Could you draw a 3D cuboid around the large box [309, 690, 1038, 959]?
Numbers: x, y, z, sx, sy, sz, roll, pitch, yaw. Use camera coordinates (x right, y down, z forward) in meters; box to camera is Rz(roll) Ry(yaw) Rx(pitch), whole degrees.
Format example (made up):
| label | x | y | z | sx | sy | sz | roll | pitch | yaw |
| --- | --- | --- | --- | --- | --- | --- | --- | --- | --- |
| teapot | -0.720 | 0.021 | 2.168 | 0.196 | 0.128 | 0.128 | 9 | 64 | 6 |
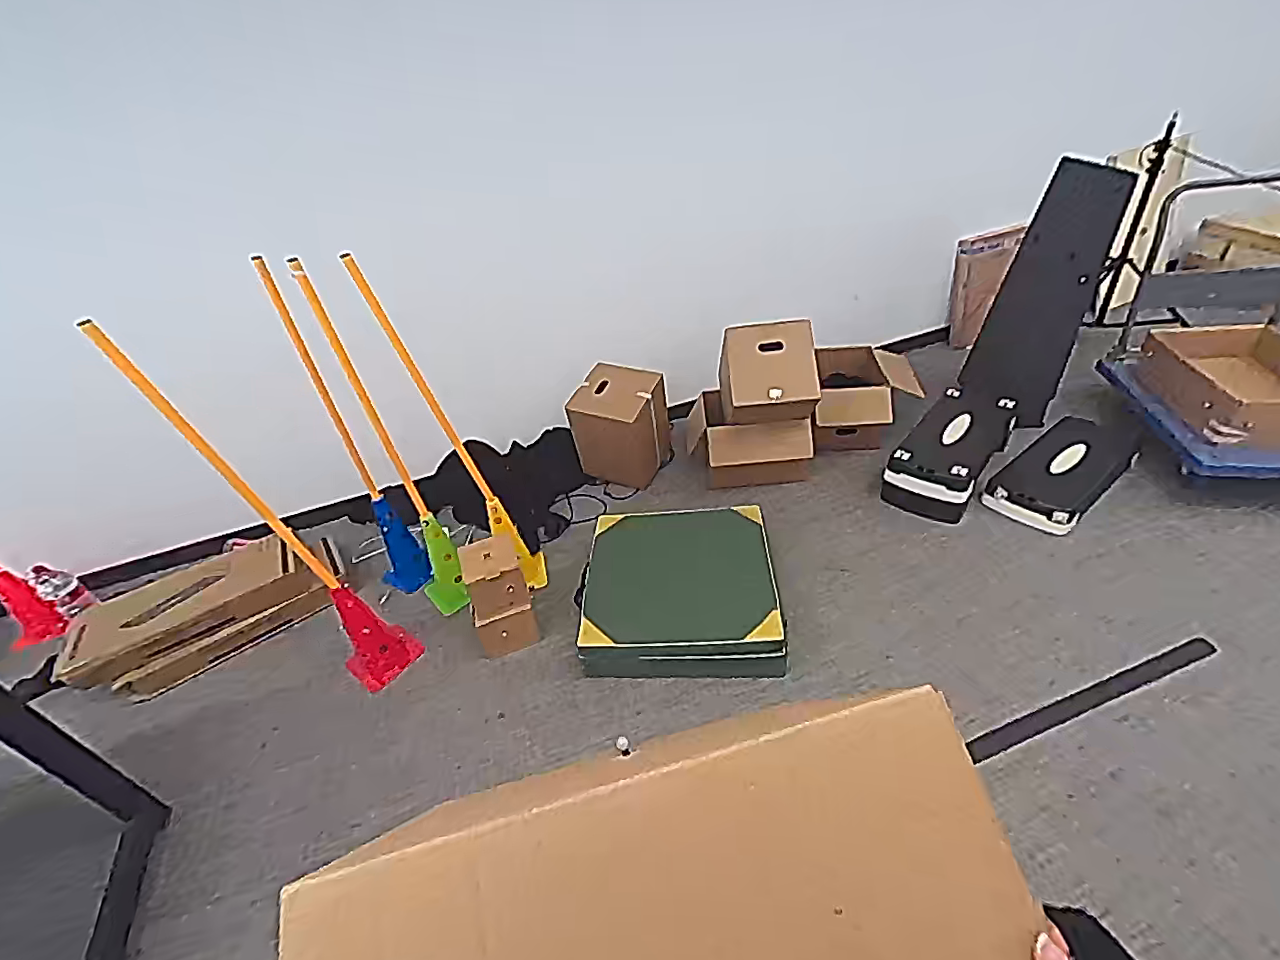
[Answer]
| label | x | y | z | sx | sy | sz | roll | pitch | yaw |
| --- | --- | --- | --- | --- | --- | --- | --- | --- | --- |
| large box | 0.035 | 0.382 | 0.421 | 0.408 | 0.320 | 0.320 | -13 | 68 | -10 |
